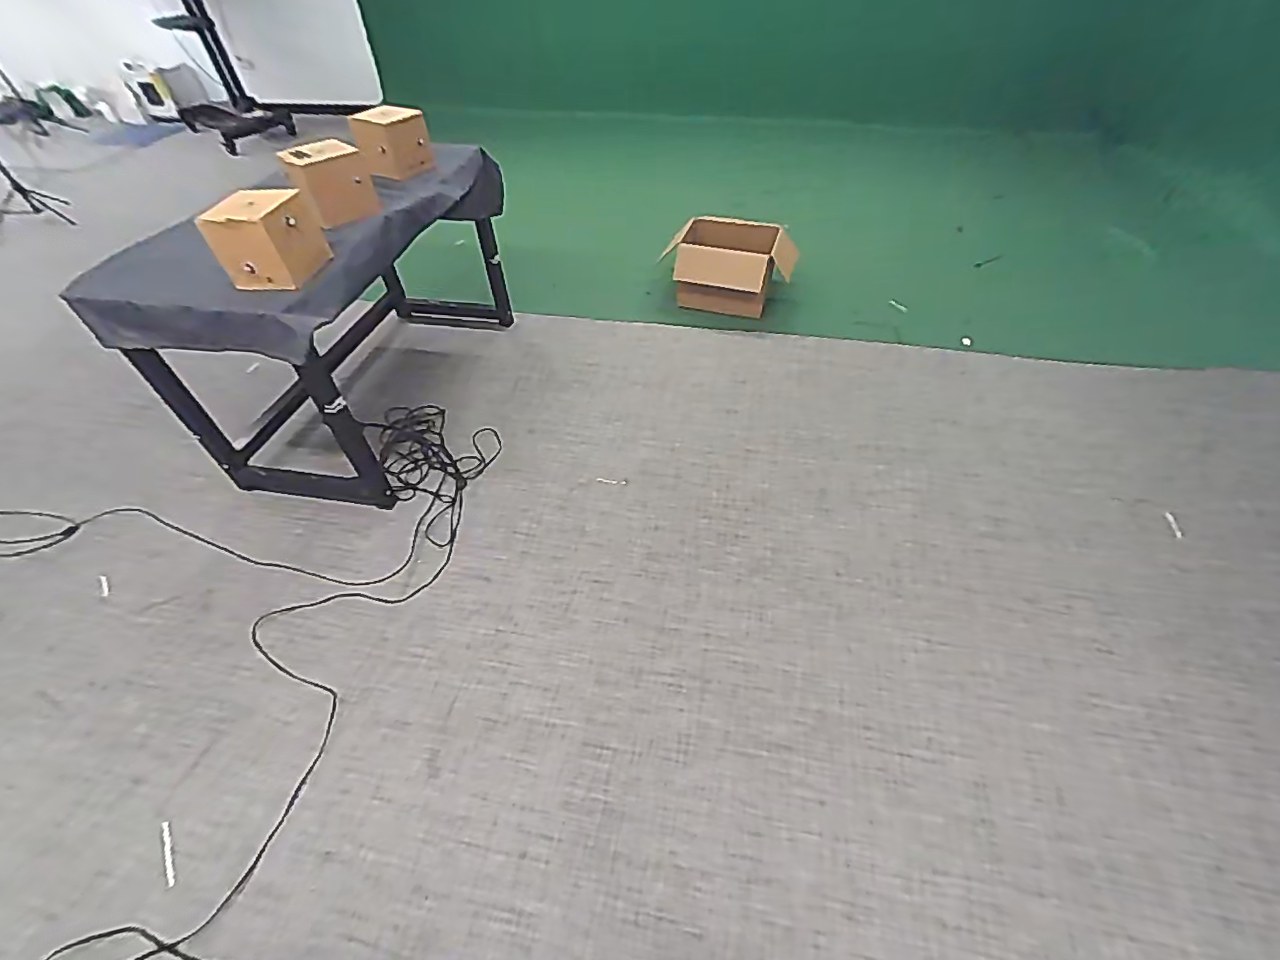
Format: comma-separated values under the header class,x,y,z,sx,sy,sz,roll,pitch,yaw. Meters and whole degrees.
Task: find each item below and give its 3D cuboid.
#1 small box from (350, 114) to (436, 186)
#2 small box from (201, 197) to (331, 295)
class,x,y,z,sx,sy,sz,roll,pitch,yaw
small box,-0.824,-1.109,1.822,0.179,0.176,0.168,20,50,21
small box,-0.889,-0.568,1.311,0.168,0.176,0.179,2,47,8
